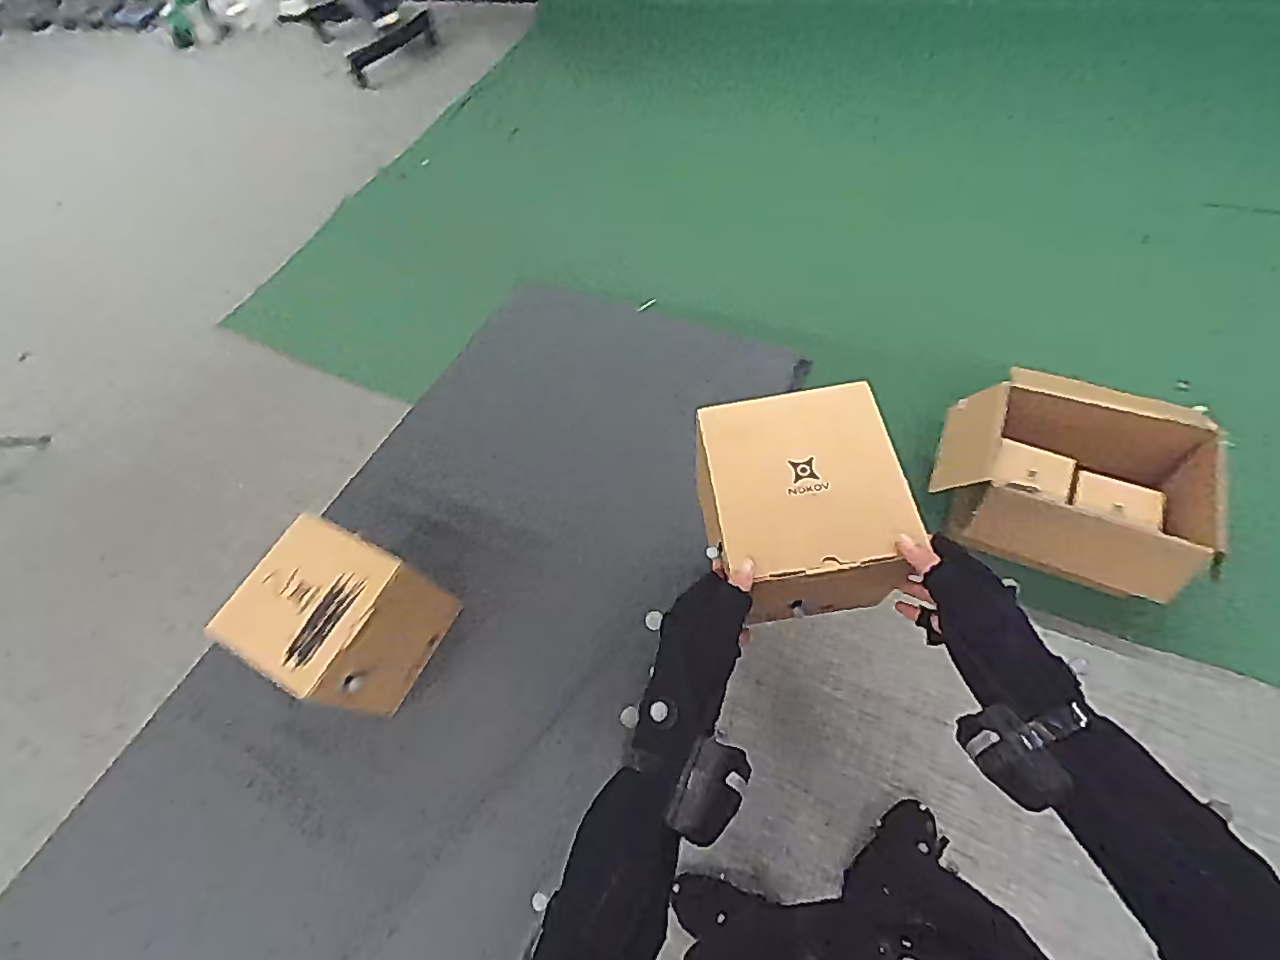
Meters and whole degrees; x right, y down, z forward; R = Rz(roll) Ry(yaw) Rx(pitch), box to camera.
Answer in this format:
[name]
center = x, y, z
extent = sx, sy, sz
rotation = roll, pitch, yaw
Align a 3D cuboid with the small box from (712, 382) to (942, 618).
[small box]
center = 0.167, 0.028, 0.553
extent = 0.168, 0.176, 0.179
rotation = -9, 63, 3
